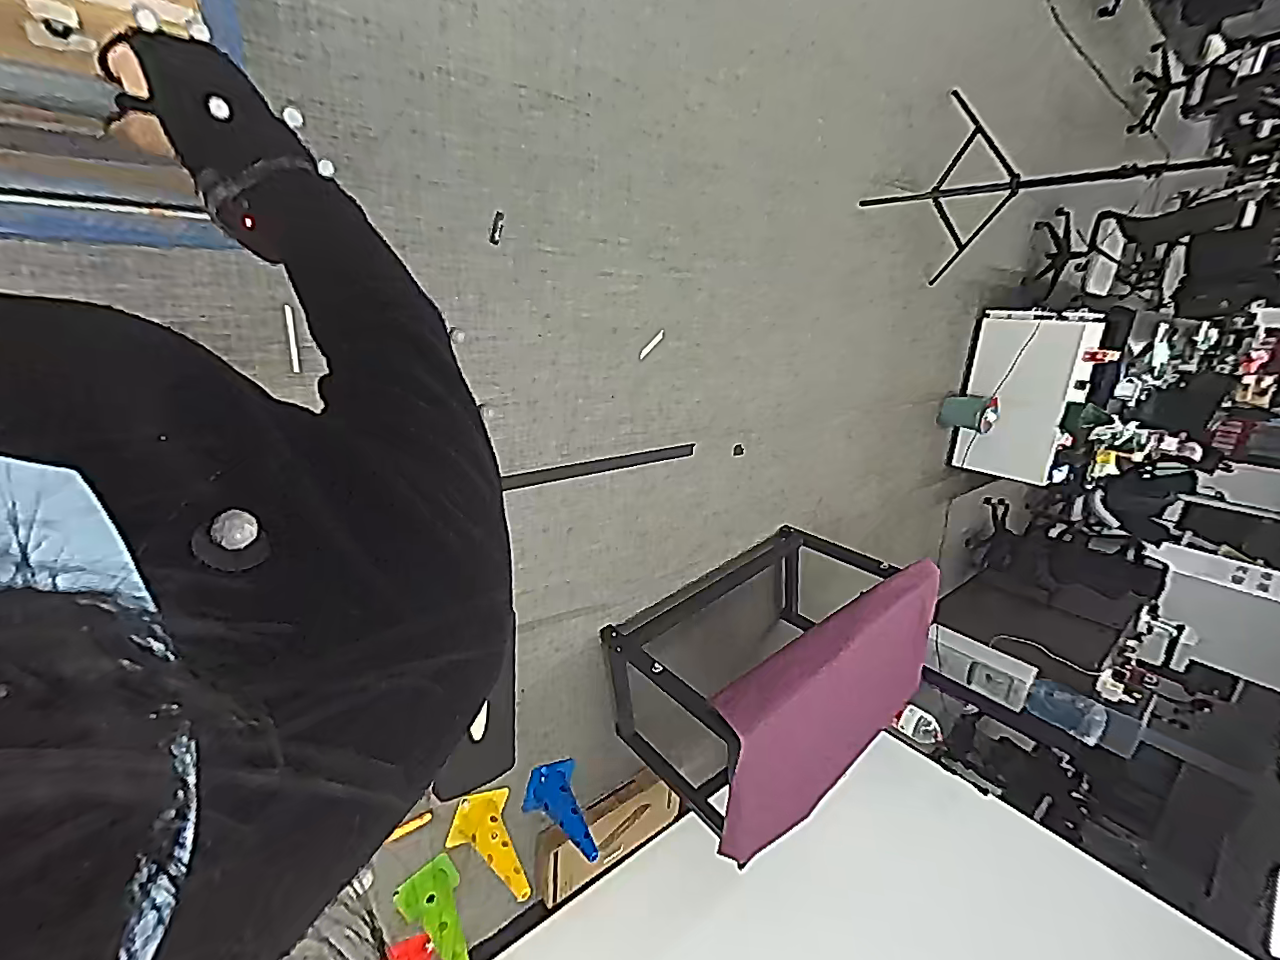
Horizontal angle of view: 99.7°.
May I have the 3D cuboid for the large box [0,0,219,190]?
[{"bbox_3d":[-0.817,-0.580,0.675,0.408,0.320,0.320,-13,113,-38],"label":"large box"}]
